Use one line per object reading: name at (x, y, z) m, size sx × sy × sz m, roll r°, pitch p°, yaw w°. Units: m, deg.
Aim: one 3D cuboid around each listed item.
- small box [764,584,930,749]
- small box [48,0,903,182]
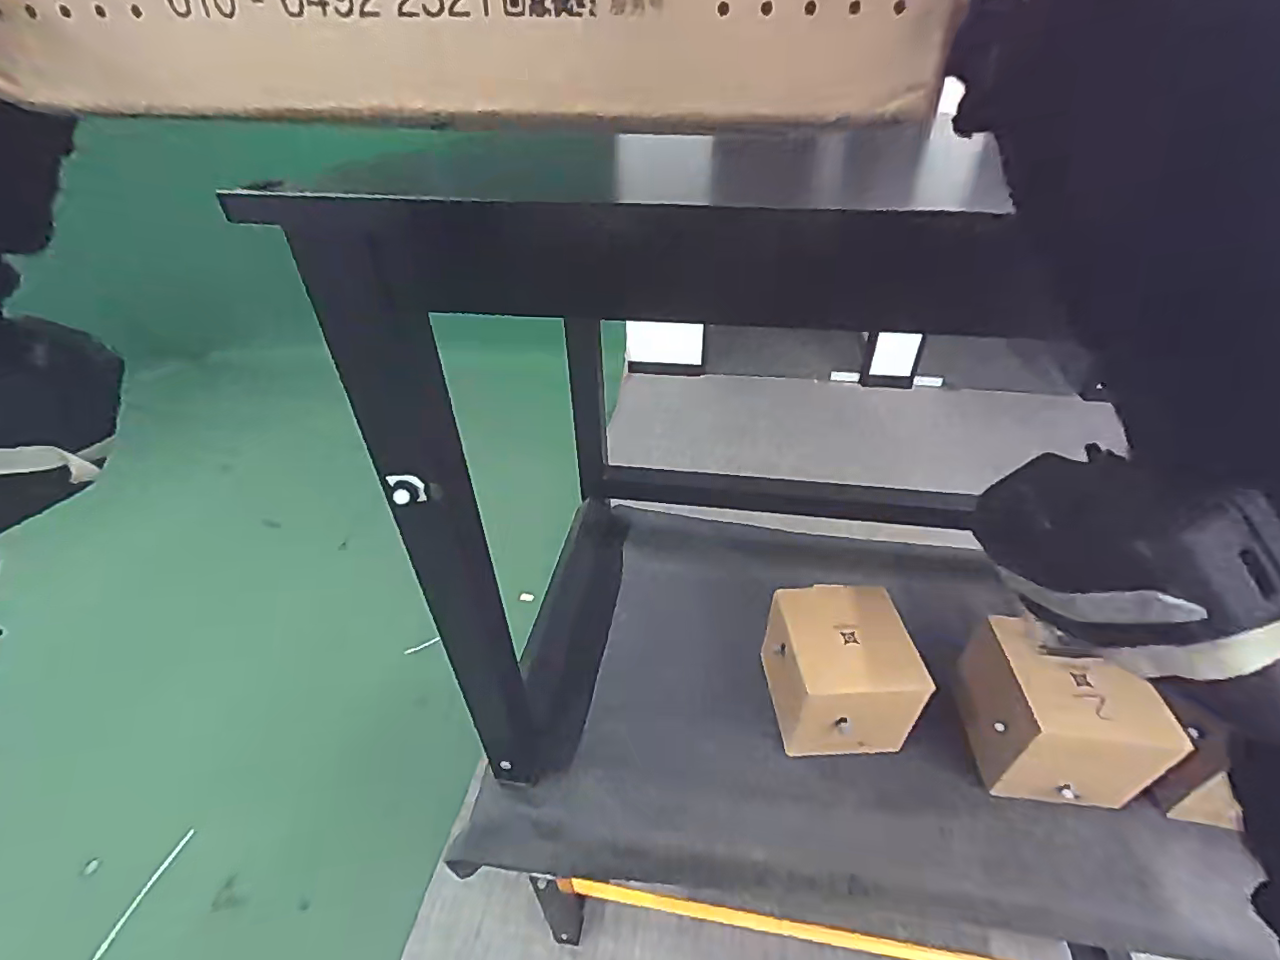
small box at (0.287, 0.276, 0.794) m, size 0.168 × 0.176 × 0.179 m, roll -2°, pitch 37°, yaw -1°
small box at (-0.028, -0.175, 0.128) m, size 0.168 × 0.176 × 0.179 m, roll 4°, pitch 33°, yaw 5°
